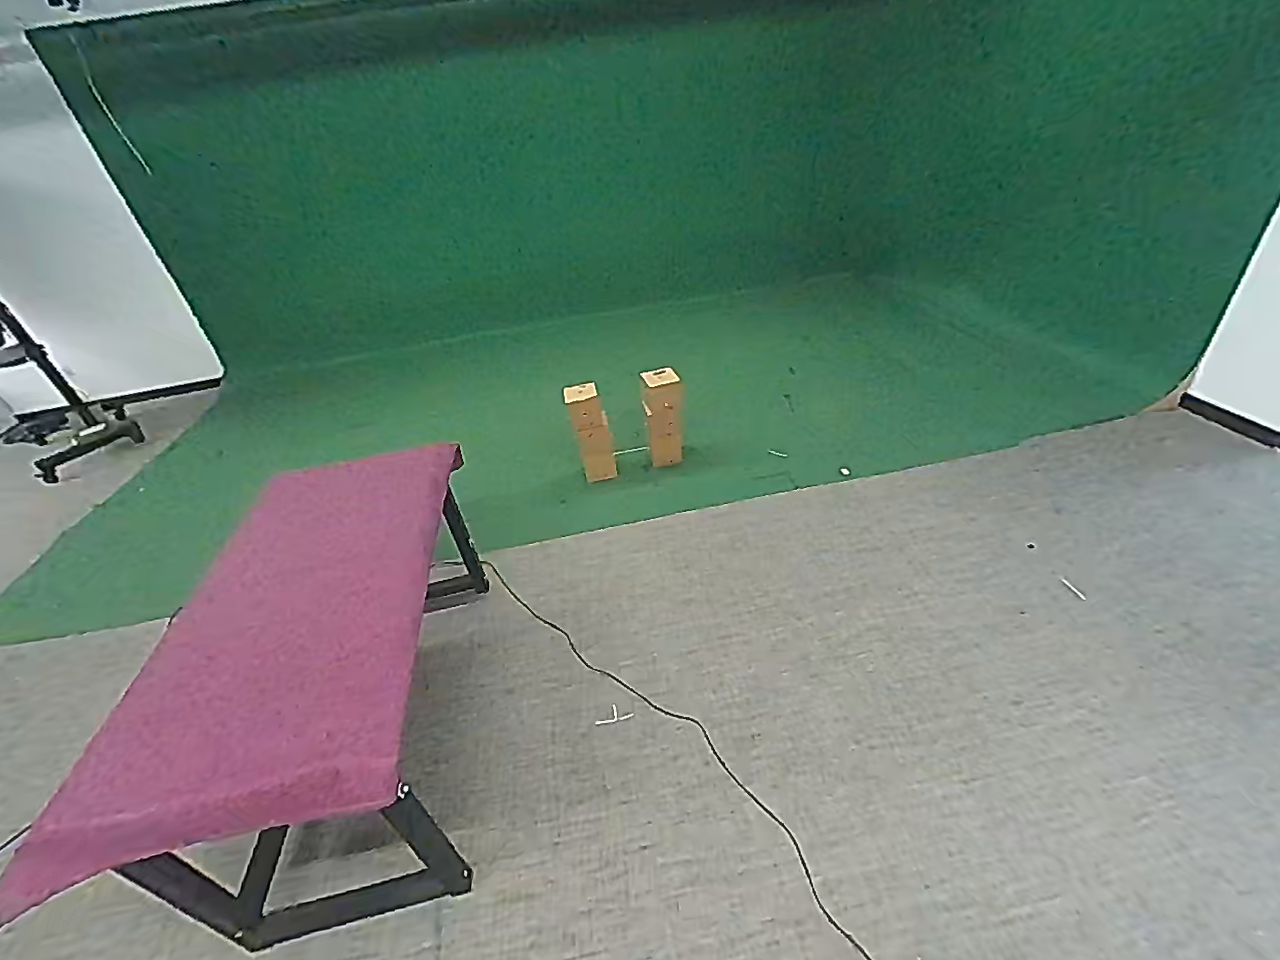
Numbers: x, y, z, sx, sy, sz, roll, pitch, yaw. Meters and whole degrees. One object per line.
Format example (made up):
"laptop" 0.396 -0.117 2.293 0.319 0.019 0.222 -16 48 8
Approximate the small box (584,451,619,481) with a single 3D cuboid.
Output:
"small box" -0.218 -0.106 2.981 0.168 0.176 0.179 -13 34 -4

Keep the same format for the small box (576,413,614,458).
"small box" -0.242 -0.236 2.883 0.179 0.176 0.168 -12 35 -4

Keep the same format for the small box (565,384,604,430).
"small box" -0.286 -0.373 2.800 0.168 0.176 0.179 -12 35 -3

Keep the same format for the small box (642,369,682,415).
"small box" 0.118 -0.461 2.834 0.168 0.176 0.179 -14 38 -9

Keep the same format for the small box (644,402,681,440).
"small box" 0.122 -0.327 2.928 0.168 0.176 0.179 -11 35 -5
